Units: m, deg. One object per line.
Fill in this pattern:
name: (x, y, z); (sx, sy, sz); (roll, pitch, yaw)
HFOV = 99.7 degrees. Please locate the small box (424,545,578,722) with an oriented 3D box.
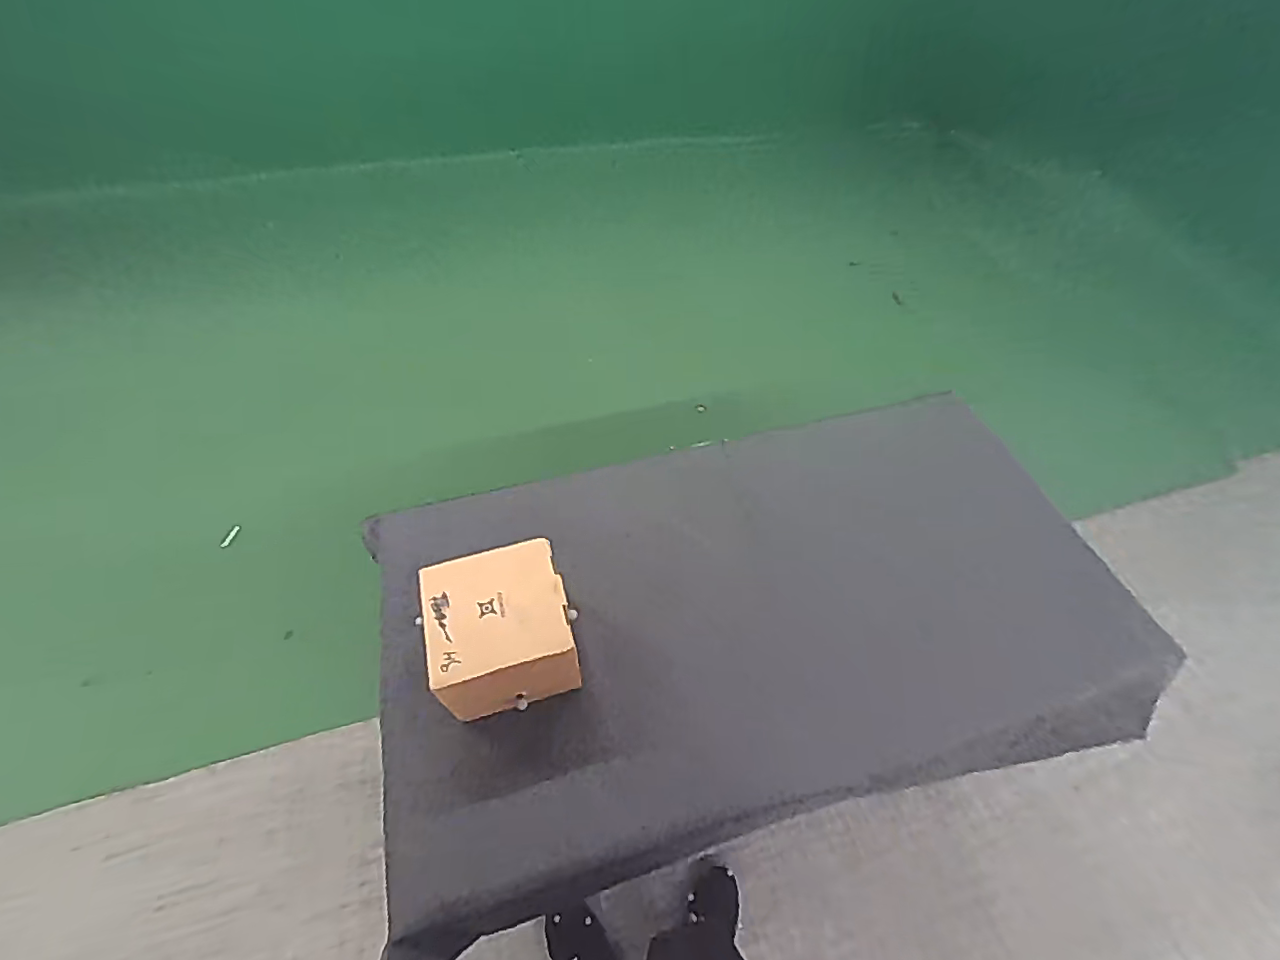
small box: (-0.188, 0.218, 0.759); (0.179, 0.176, 0.168); (-13, 56, -13)
